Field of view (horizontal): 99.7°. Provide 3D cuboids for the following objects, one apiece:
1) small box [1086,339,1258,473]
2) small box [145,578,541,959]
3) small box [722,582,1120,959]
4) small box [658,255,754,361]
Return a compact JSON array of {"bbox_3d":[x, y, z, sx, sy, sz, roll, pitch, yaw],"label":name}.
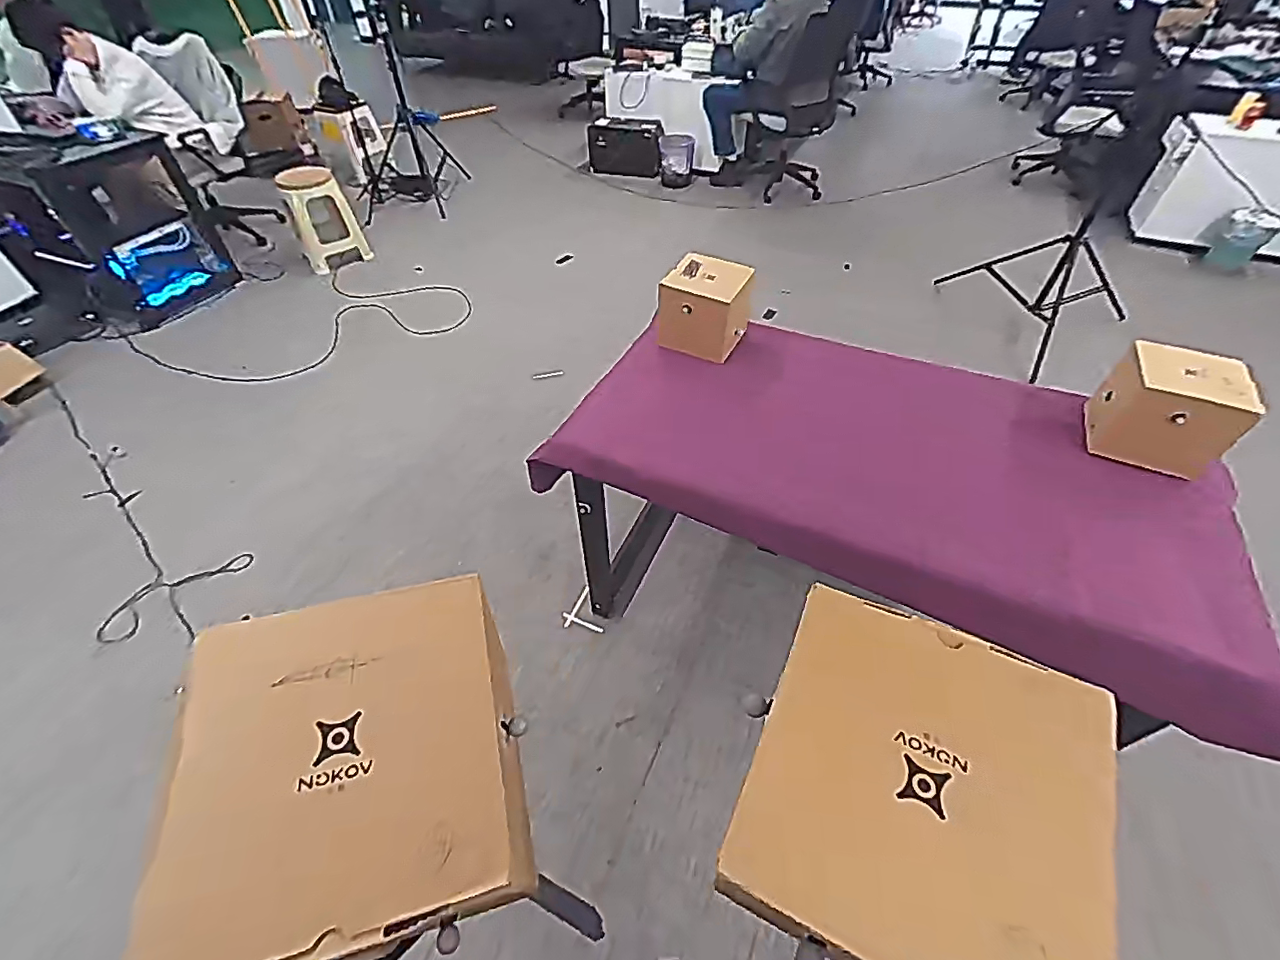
[{"bbox_3d":[0.997,-0.139,1.038,0.179,0.176,0.168,20,52,17],"label":"small box"},{"bbox_3d":[-0.163,0.194,0.355,0.168,0.176,0.179,-10,53,-14],"label":"small box"},{"bbox_3d":[0.159,0.202,0.343,0.168,0.176,0.179,18,54,20],"label":"small box"},{"bbox_3d":[0.154,-0.411,1.298,0.179,0.176,0.168,22,53,18],"label":"small box"}]
